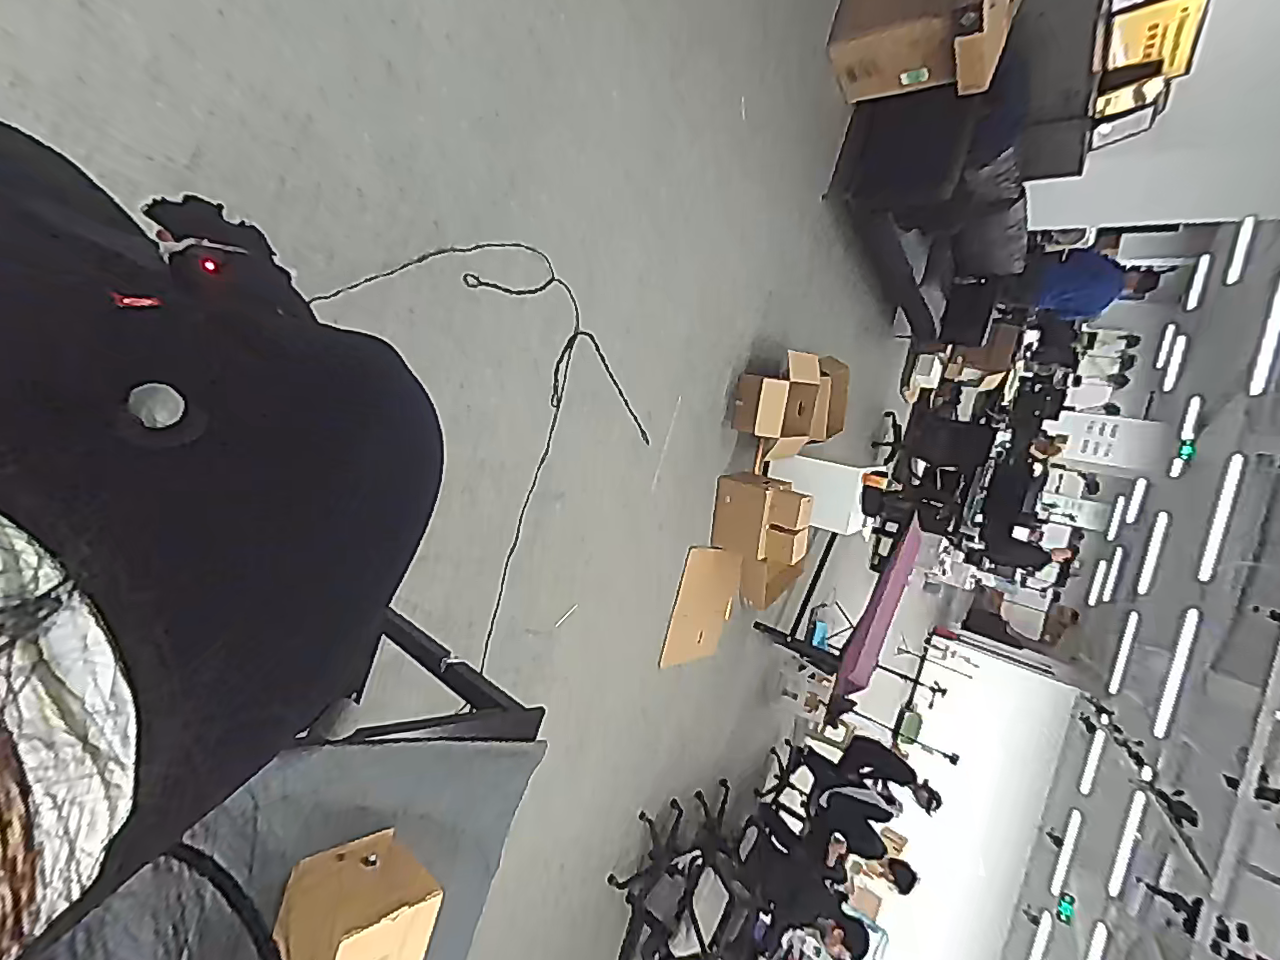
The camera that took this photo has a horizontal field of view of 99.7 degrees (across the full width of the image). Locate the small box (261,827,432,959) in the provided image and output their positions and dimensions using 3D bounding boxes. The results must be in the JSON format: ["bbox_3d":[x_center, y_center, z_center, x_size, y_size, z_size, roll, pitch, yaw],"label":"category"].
[{"bbox_3d":[-0.465,0.702,0.854,0.168,0.176,0.179,17,89,-52],"label":"small box"}]
